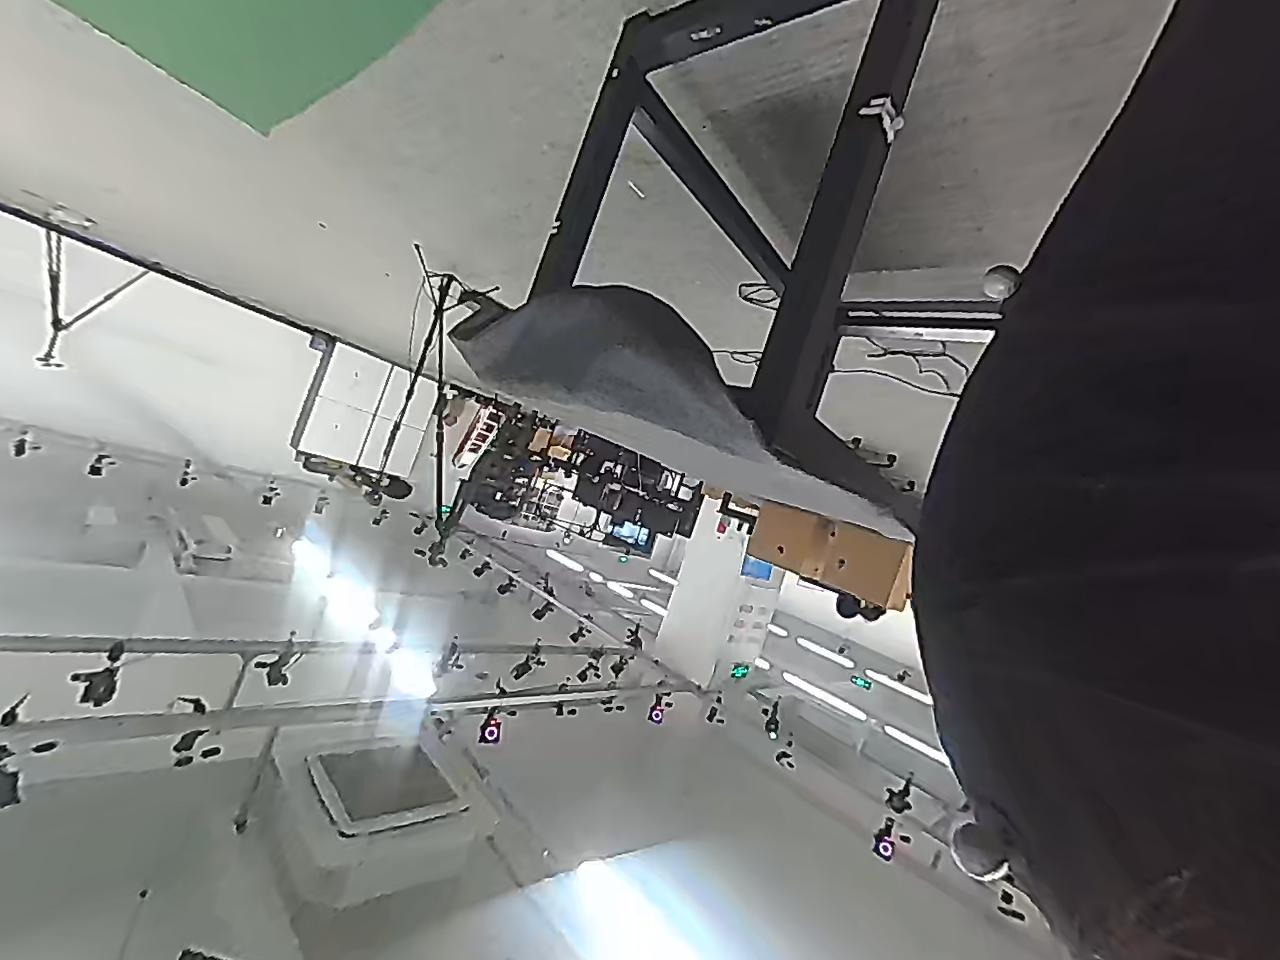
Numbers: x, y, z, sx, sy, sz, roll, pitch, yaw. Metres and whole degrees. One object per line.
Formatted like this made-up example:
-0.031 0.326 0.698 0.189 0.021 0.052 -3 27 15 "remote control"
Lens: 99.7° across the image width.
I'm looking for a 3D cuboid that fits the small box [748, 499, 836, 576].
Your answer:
0.446 0.163 1.556 0.179 0.176 0.168 18 178 43 "small box"
